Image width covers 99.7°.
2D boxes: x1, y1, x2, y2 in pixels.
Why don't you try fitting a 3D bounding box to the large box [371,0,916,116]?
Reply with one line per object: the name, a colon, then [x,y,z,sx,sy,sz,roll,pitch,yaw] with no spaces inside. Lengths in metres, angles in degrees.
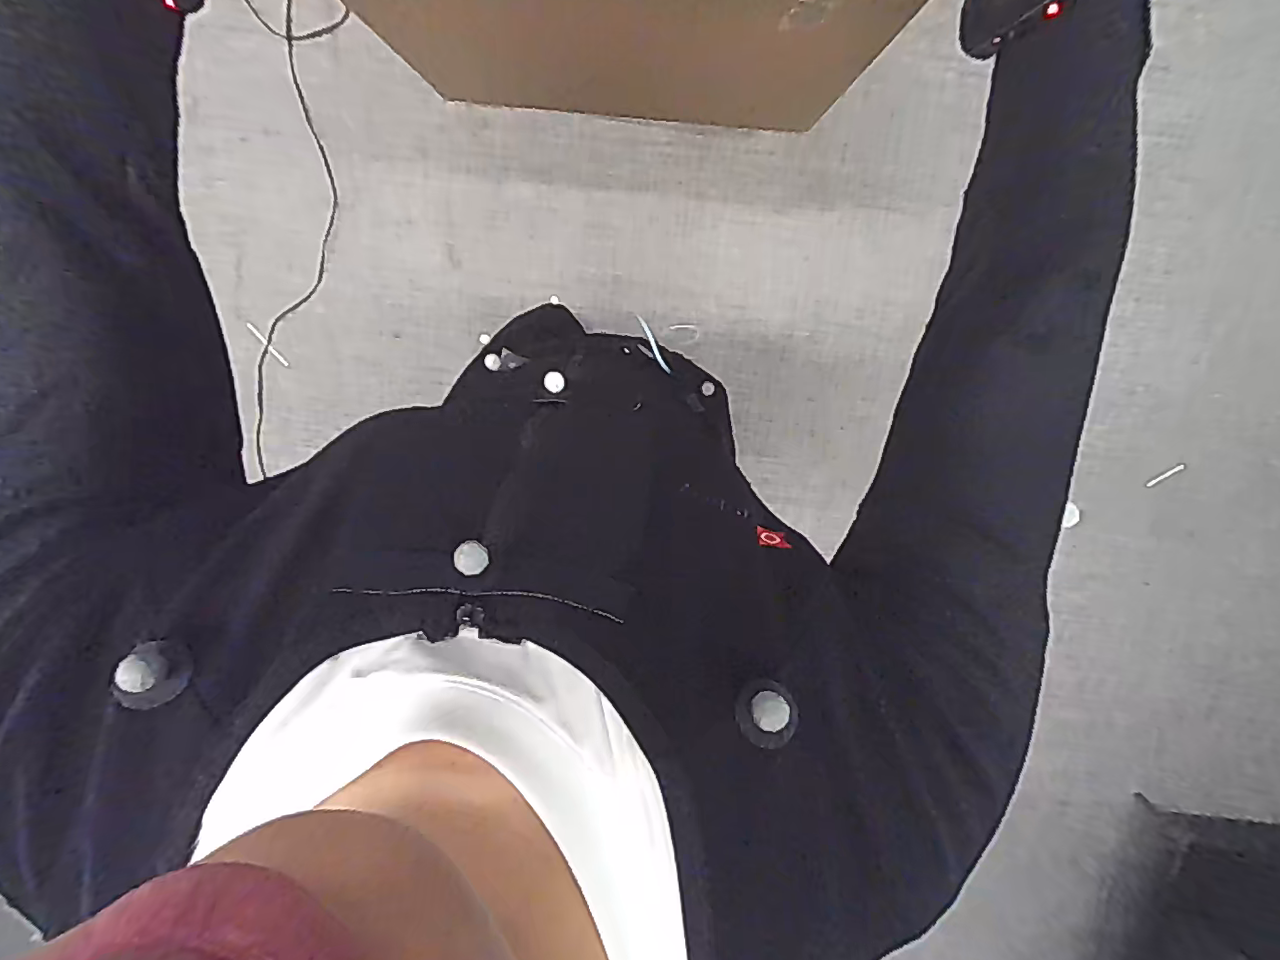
large box: [0.000,-0.504,0.402,0.408,0.320,0.320,4,110,-1]
